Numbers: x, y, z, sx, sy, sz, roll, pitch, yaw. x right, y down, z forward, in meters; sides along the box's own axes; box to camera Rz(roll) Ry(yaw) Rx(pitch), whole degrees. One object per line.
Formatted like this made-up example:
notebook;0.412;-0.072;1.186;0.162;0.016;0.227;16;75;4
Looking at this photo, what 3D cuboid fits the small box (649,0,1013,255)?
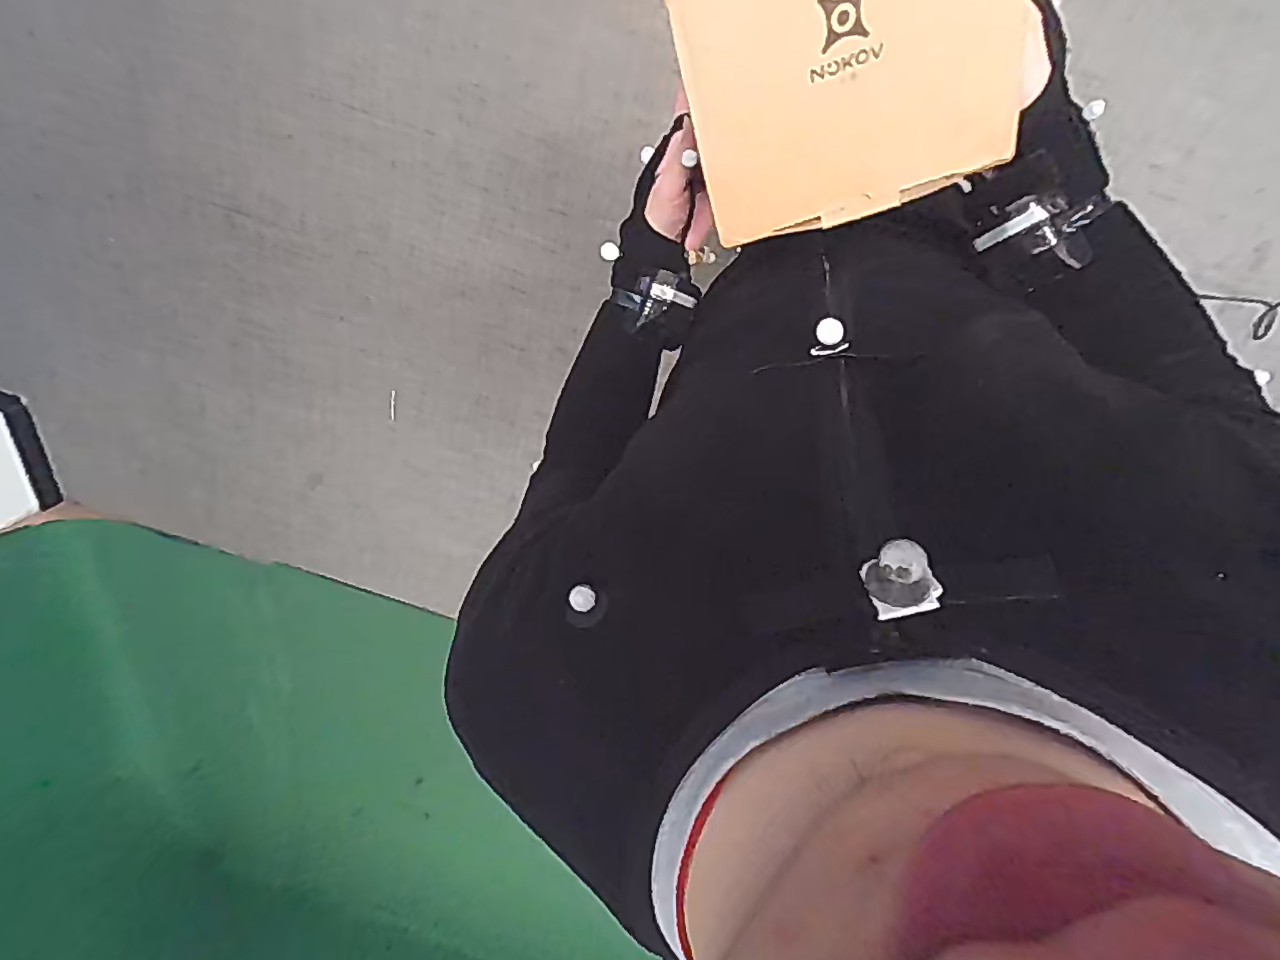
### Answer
small box;0.102;-0.272;0.331;0.168;0.176;0.179;-13;126;15
